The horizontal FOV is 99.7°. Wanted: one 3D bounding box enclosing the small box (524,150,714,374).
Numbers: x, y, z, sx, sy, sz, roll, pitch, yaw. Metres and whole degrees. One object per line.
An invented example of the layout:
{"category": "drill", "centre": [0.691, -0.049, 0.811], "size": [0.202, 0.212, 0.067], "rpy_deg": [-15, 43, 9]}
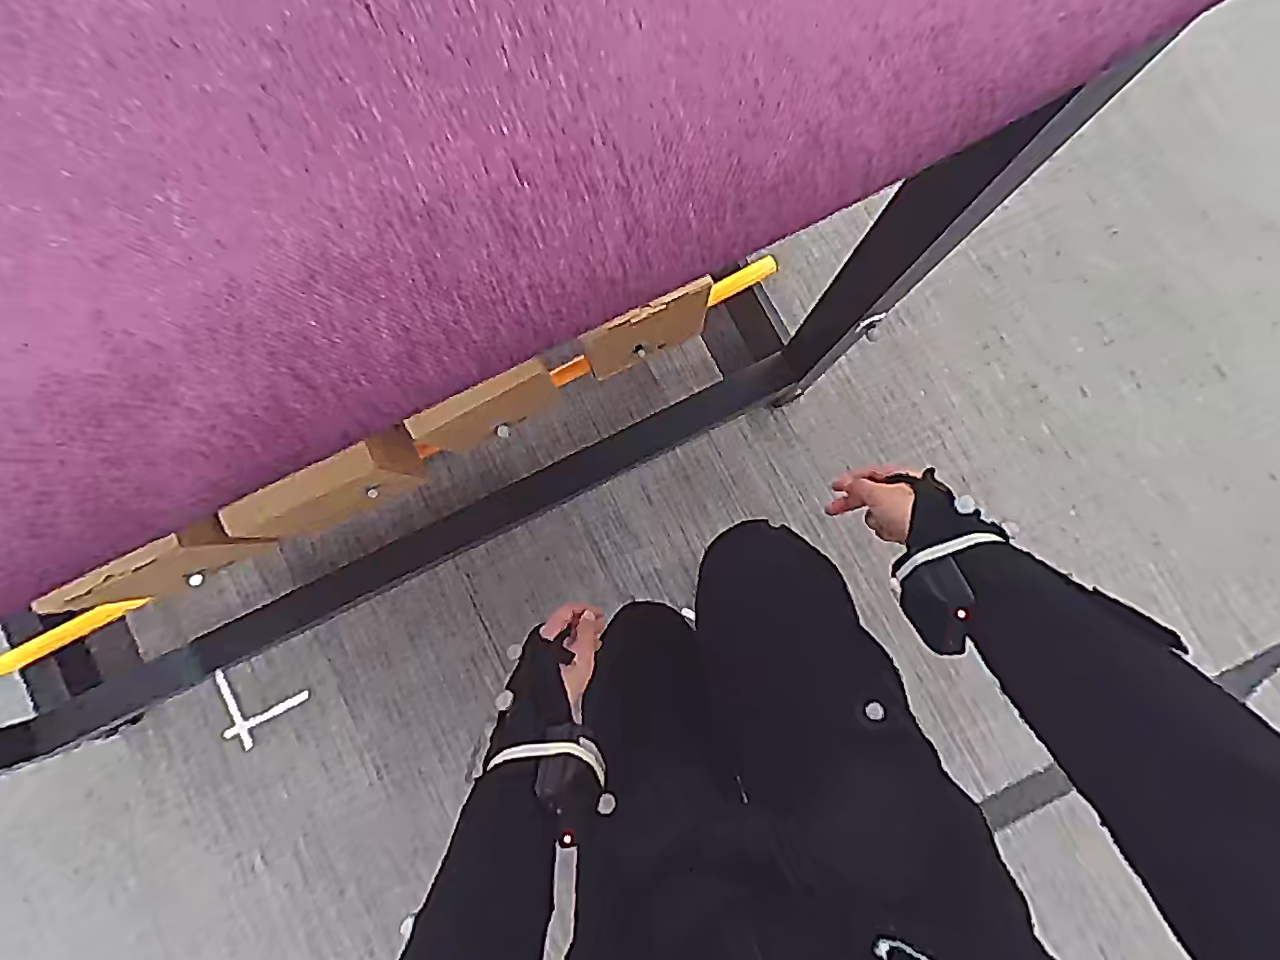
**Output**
{"category": "small box", "centre": [-0.026, -0.262, 0.687], "size": [0.168, 0.176, 0.179], "rpy_deg": [-25, 86, -2]}

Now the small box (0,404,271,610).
{"category": "small box", "centre": [-0.601, 0.035, 0.653], "size": [0.168, 0.176, 0.179], "rpy_deg": [-26, 86, -3]}

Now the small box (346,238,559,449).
{"category": "small box", "centre": [-0.219, -0.156, 0.679], "size": [0.168, 0.176, 0.179], "rpy_deg": [-28, 87, -2]}
